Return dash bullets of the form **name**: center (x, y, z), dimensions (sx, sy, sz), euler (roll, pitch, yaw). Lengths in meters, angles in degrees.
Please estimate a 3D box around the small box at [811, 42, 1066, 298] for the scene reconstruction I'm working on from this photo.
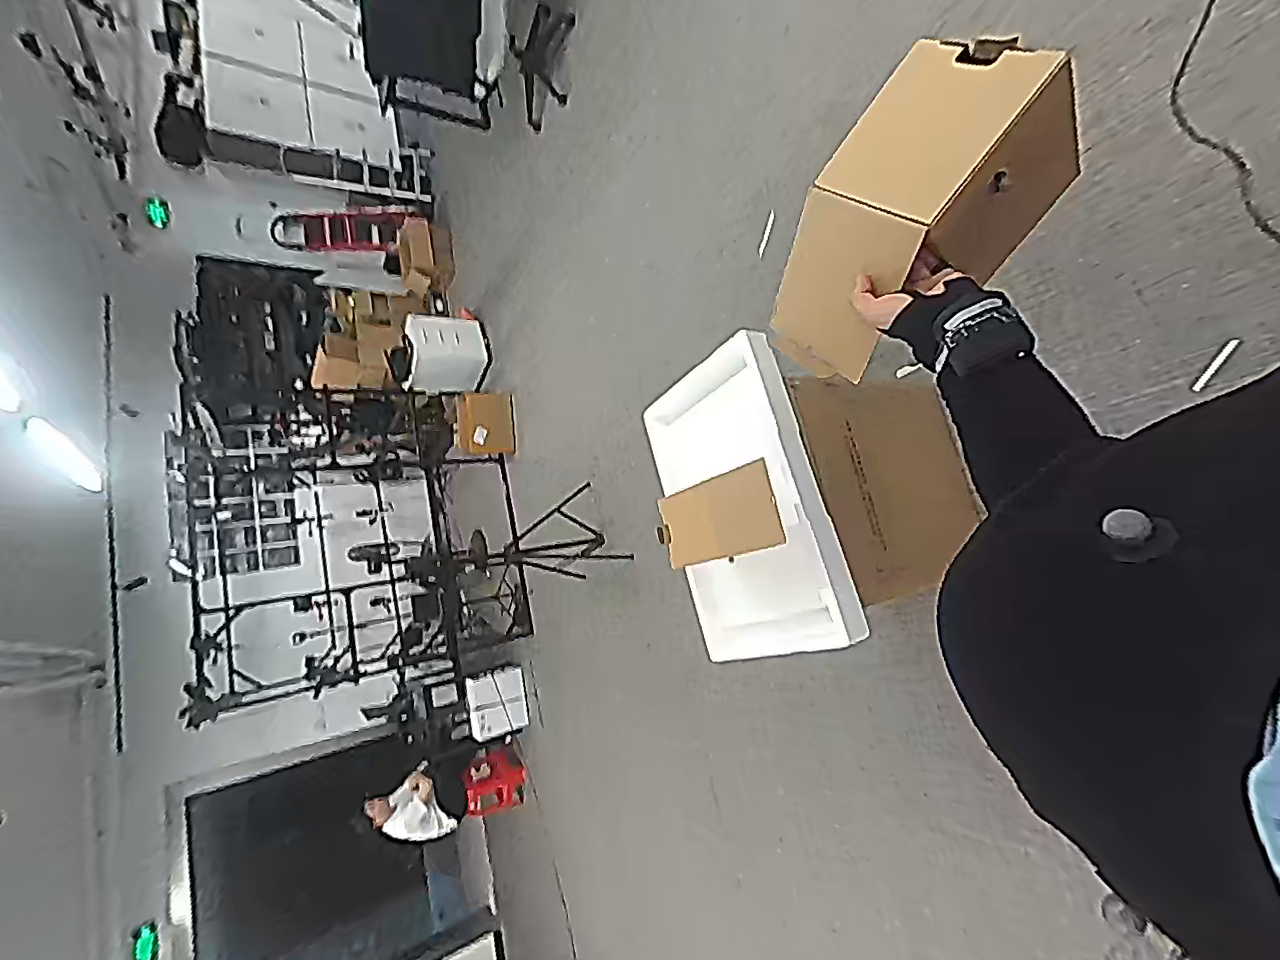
- **small box**: center (0.338, -0.337, 0.609), dimensions (0.179, 0.176, 0.168), euler (-53, 48, 15)
